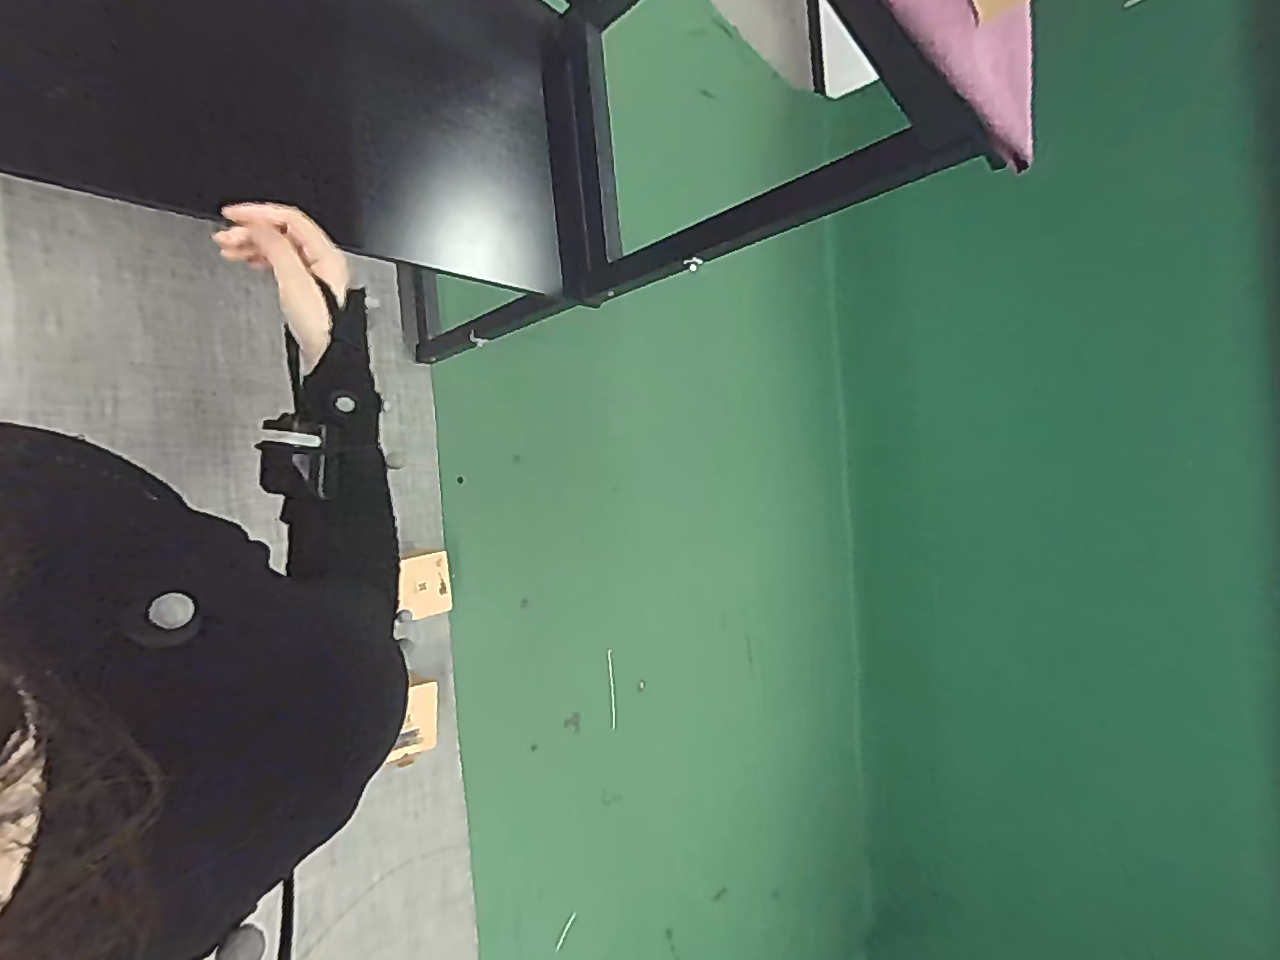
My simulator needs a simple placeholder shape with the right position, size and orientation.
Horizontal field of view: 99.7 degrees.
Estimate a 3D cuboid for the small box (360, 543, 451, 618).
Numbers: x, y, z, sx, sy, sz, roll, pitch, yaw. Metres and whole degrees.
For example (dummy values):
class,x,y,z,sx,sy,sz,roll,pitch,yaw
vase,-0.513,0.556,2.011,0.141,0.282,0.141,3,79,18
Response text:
class,x,y,z,sx,sy,sz,roll,pitch,yaw
small box,-0.642,0.266,1.469,0.179,0.176,0.168,-8,93,-47
